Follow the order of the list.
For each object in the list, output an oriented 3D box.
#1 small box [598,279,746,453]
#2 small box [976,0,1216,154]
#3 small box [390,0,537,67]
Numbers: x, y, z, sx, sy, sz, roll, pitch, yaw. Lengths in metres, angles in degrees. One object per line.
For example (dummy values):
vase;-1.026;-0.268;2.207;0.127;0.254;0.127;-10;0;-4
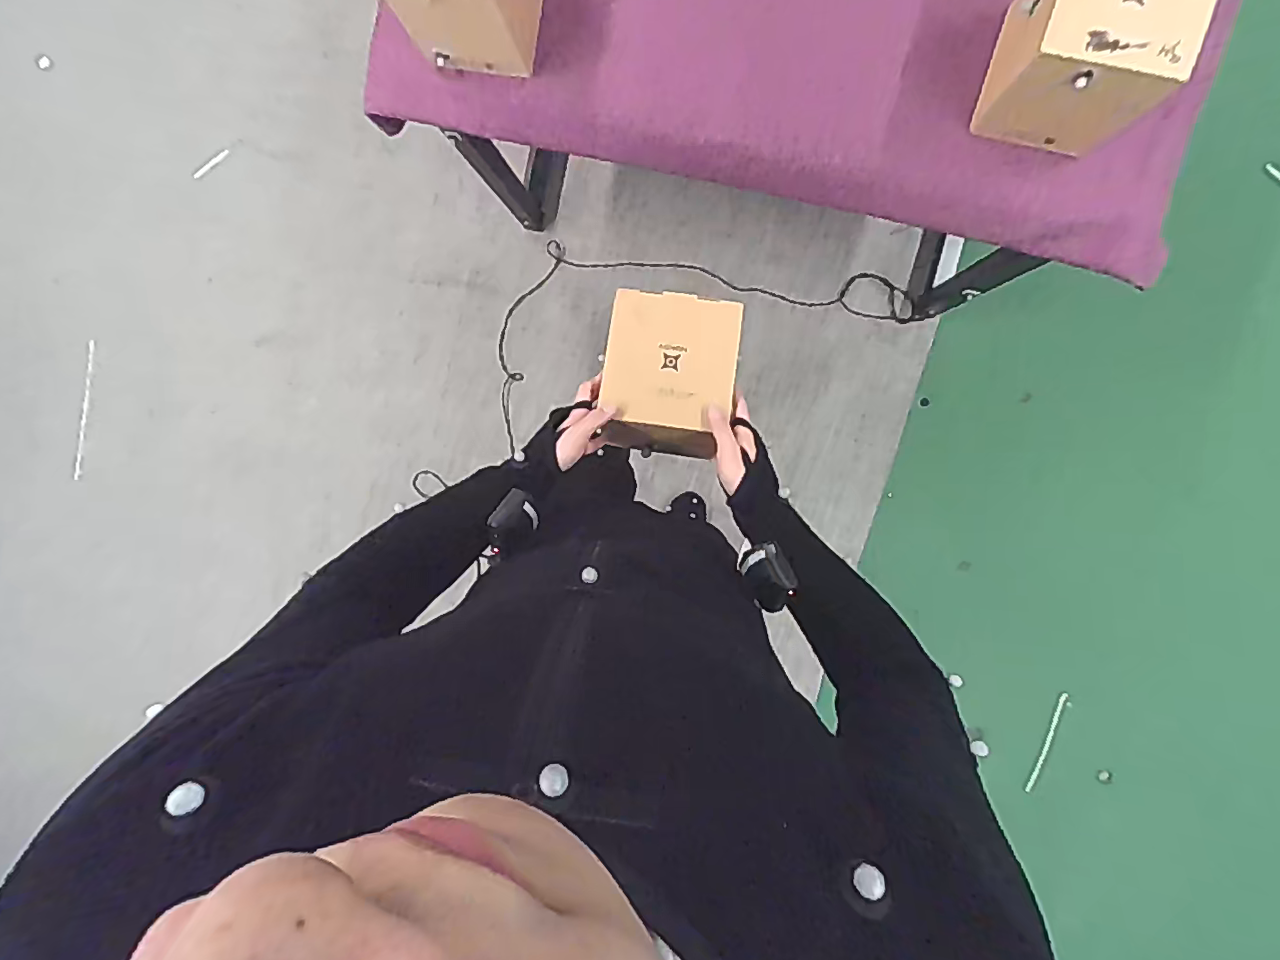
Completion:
small box;0.040;-0.146;0.747;0.168;0.176;0.179;8;82;2
small box;0.563;-0.557;0.680;0.168;0.176;0.179;16;95;5
small box;-0.242;-0.713;0.738;0.168;0.176;0.179;10;95;4
